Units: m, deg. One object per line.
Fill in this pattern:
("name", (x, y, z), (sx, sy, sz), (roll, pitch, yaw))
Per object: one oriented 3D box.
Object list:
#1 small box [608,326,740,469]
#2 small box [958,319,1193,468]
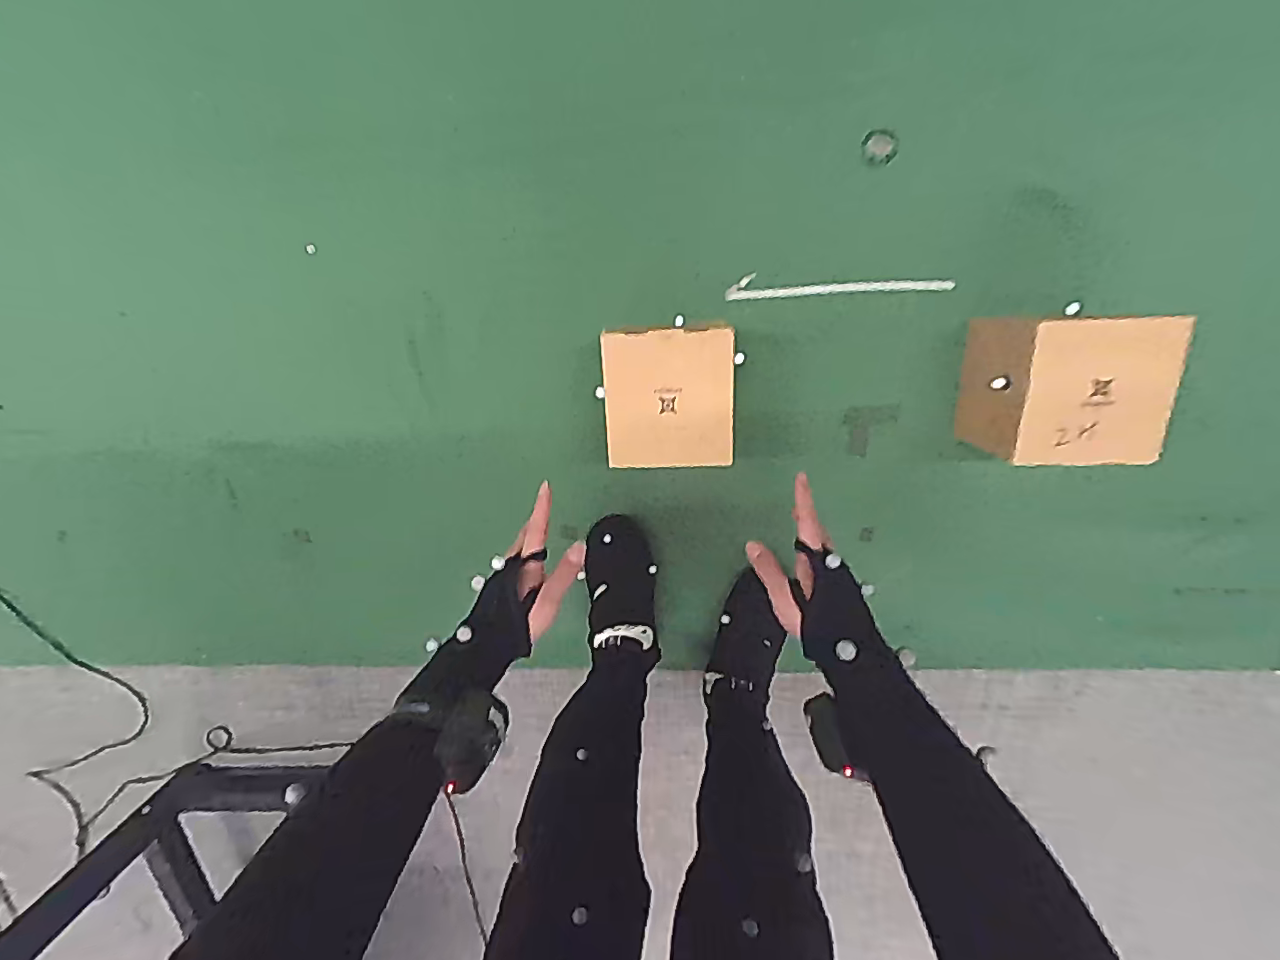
("small box", (0.052, -0.123, 0.764), (0.168, 0.176, 0.179), (-1, 107, 6))
("small box", (0.552, -0.121, 0.717), (0.168, 0.176, 0.179), (0, 108, 5))
